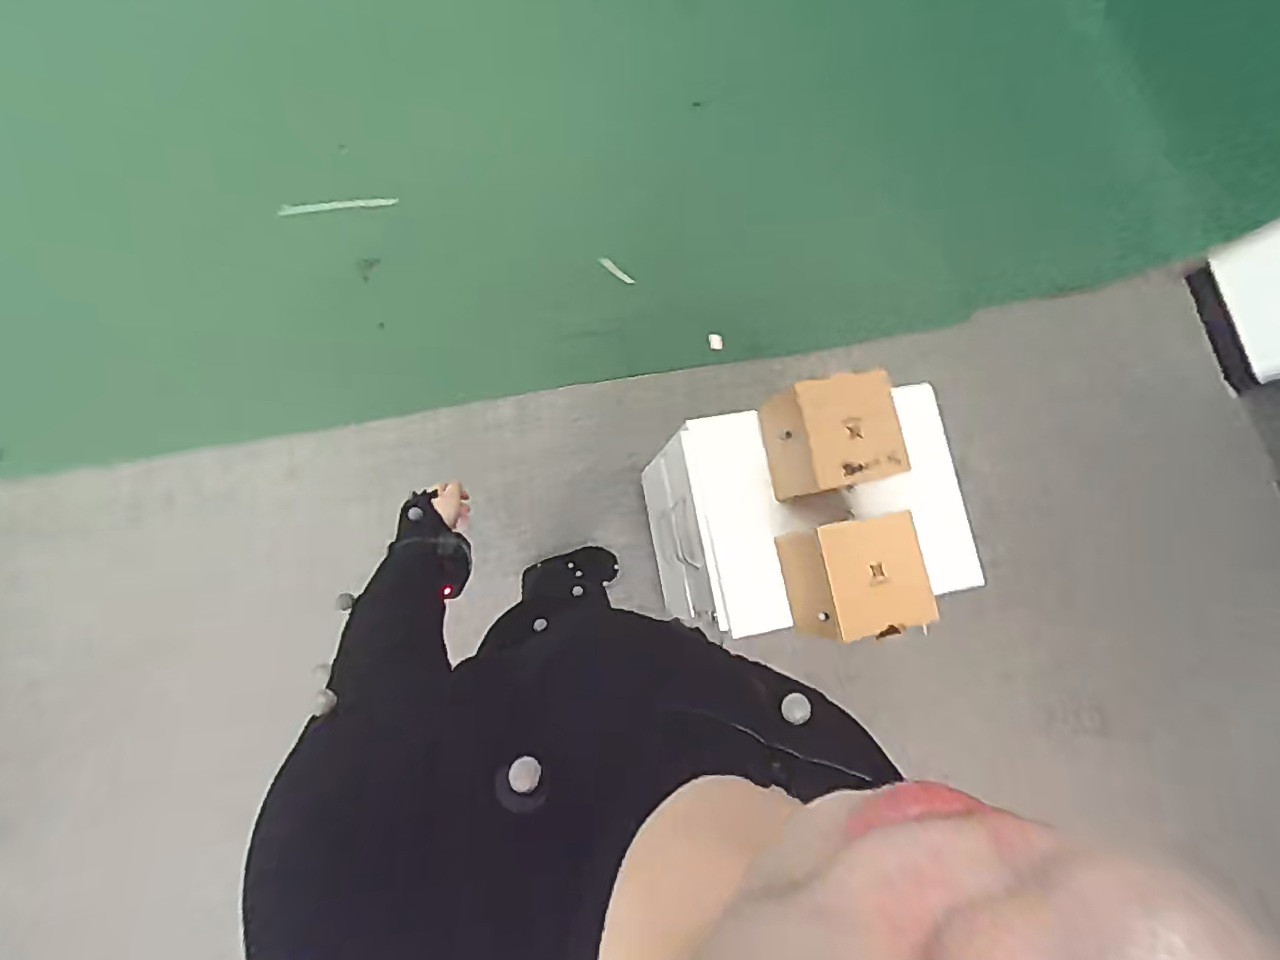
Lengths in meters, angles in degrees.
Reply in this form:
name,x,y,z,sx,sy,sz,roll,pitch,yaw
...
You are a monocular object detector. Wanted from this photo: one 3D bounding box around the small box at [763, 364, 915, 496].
name,x,y,z,sx,sy,sz,roll,pitch,yaw
small box,0.326,-0.078,0.923,0.168,0.176,0.179,-10,83,-9
